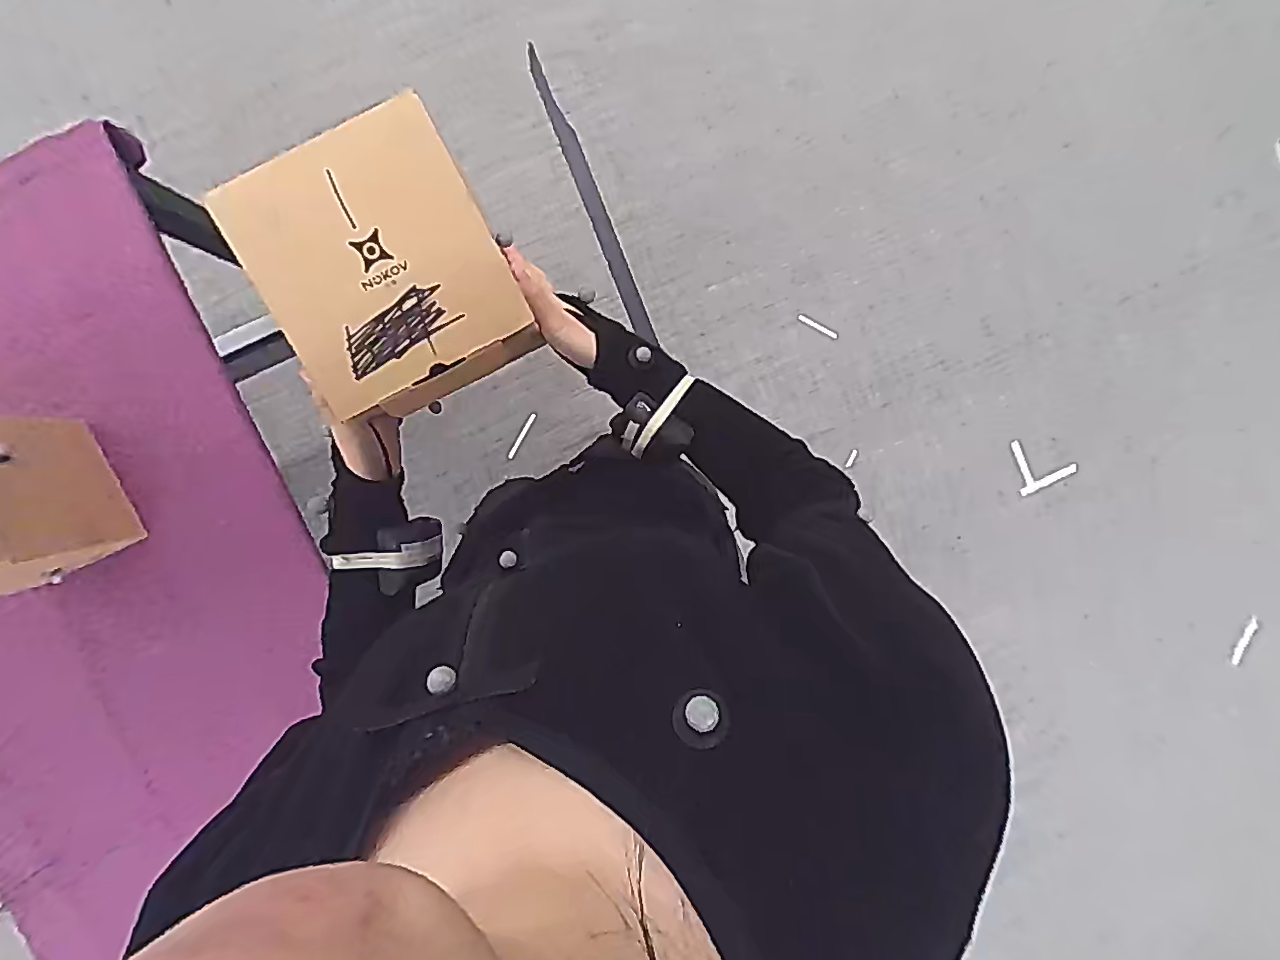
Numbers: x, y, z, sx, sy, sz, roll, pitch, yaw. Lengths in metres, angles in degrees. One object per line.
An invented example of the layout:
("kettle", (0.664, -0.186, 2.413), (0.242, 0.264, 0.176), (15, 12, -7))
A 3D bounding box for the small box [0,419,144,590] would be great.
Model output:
("small box", (-0.774, 0.035, 0.648), (0.168, 0.176, 0.179), (-24, 96, 1))

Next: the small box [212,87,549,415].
("small box", (-0.190, -0.172, 0.463), (0.168, 0.176, 0.179), (-27, 101, 0))
